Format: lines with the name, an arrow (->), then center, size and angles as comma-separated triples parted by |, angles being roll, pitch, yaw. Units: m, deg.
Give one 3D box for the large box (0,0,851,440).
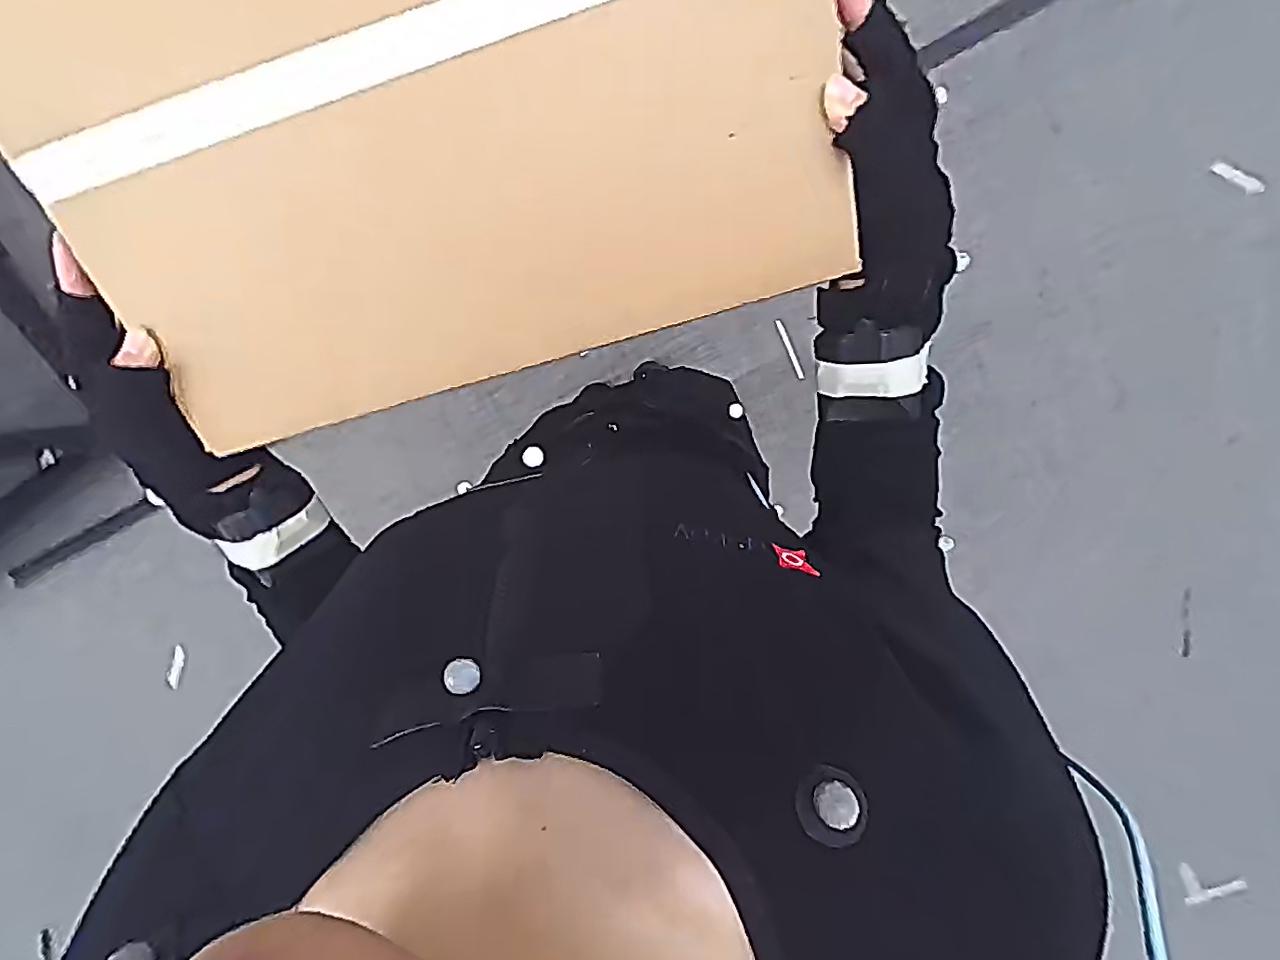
large box -> -0.113, -0.268, 0.406 | 0.408, 0.320, 0.320 | -15, 115, 6
